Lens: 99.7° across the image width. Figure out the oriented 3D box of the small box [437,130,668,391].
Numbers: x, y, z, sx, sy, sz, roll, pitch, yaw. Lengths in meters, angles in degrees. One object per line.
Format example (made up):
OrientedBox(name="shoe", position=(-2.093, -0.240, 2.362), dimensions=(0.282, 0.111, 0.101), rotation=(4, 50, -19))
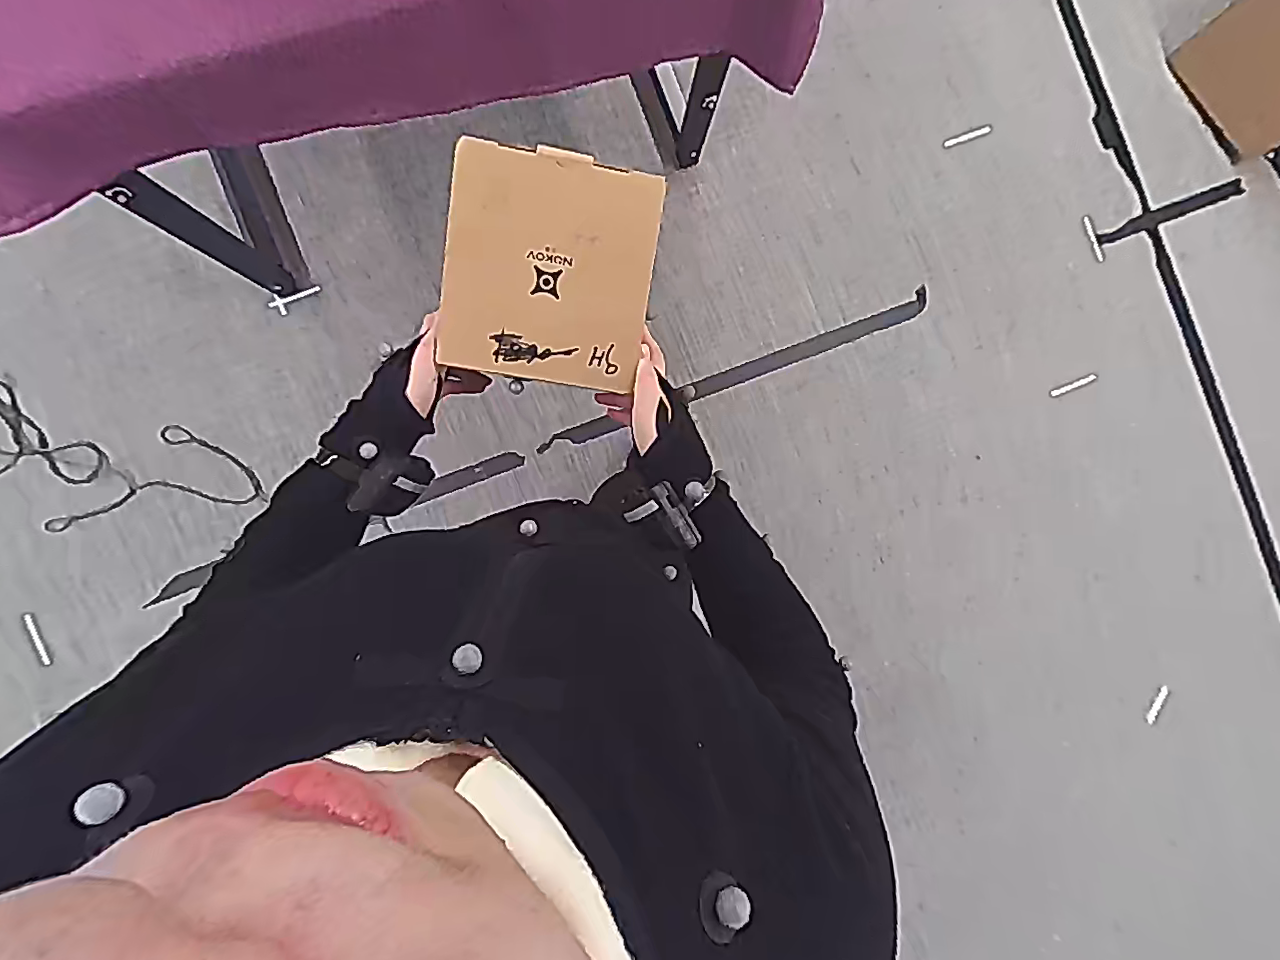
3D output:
OrientedBox(name="small box", position=(-0.077, -0.185, 0.513), dimensions=(0.168, 0.176, 0.179), rotation=(9, 98, -5))
